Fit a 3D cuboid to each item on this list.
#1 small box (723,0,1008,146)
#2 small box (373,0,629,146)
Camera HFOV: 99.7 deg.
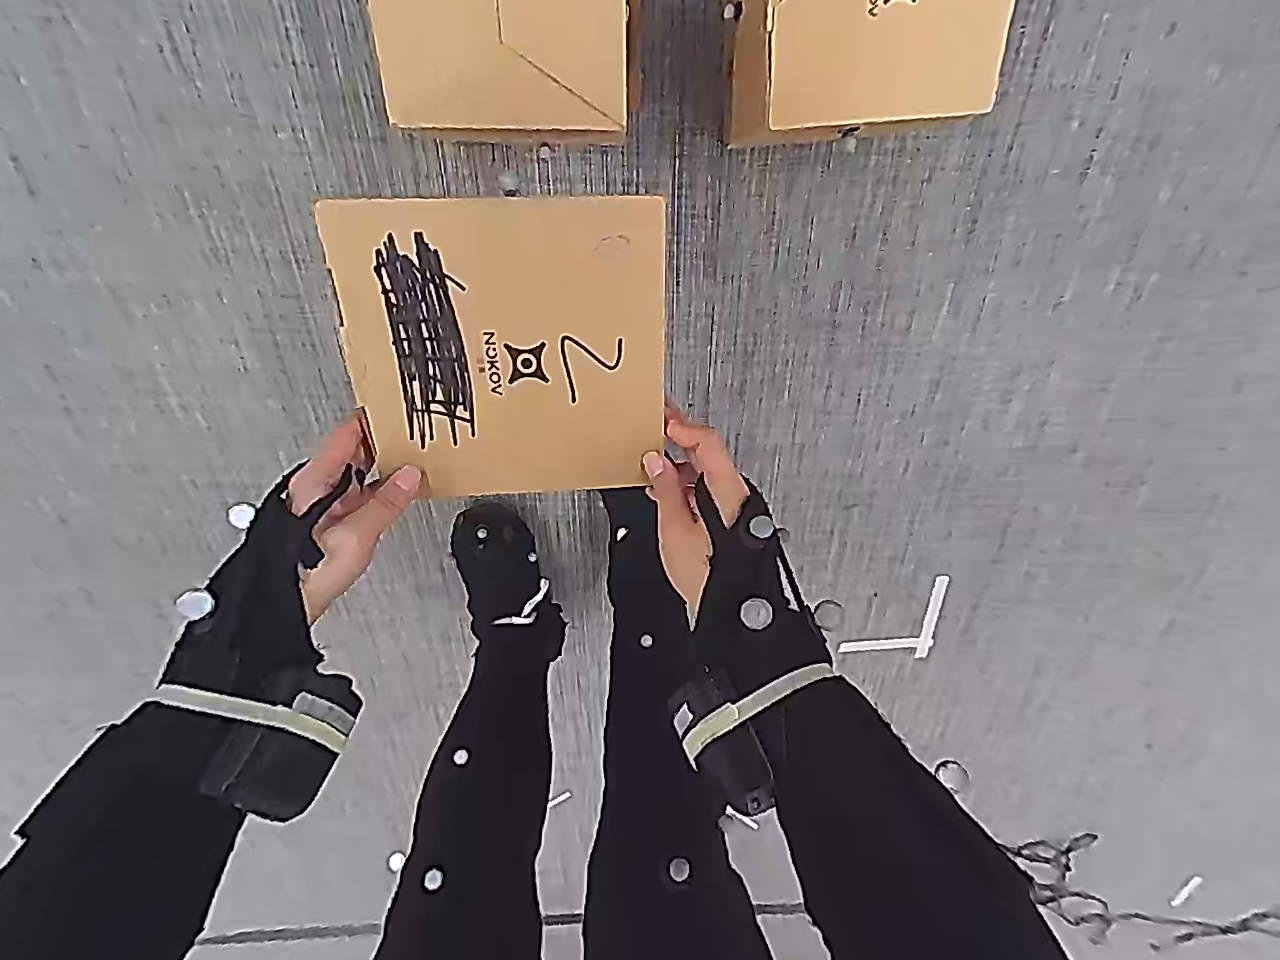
[{"bbox_3d":[0.173,-0.382,0.449,0.179,0.176,0.168,-5,119,0],"label":"small box"},{"bbox_3d":[-0.098,-0.370,0.436,0.179,0.176,0.168,-1,118,-3],"label":"small box"}]
